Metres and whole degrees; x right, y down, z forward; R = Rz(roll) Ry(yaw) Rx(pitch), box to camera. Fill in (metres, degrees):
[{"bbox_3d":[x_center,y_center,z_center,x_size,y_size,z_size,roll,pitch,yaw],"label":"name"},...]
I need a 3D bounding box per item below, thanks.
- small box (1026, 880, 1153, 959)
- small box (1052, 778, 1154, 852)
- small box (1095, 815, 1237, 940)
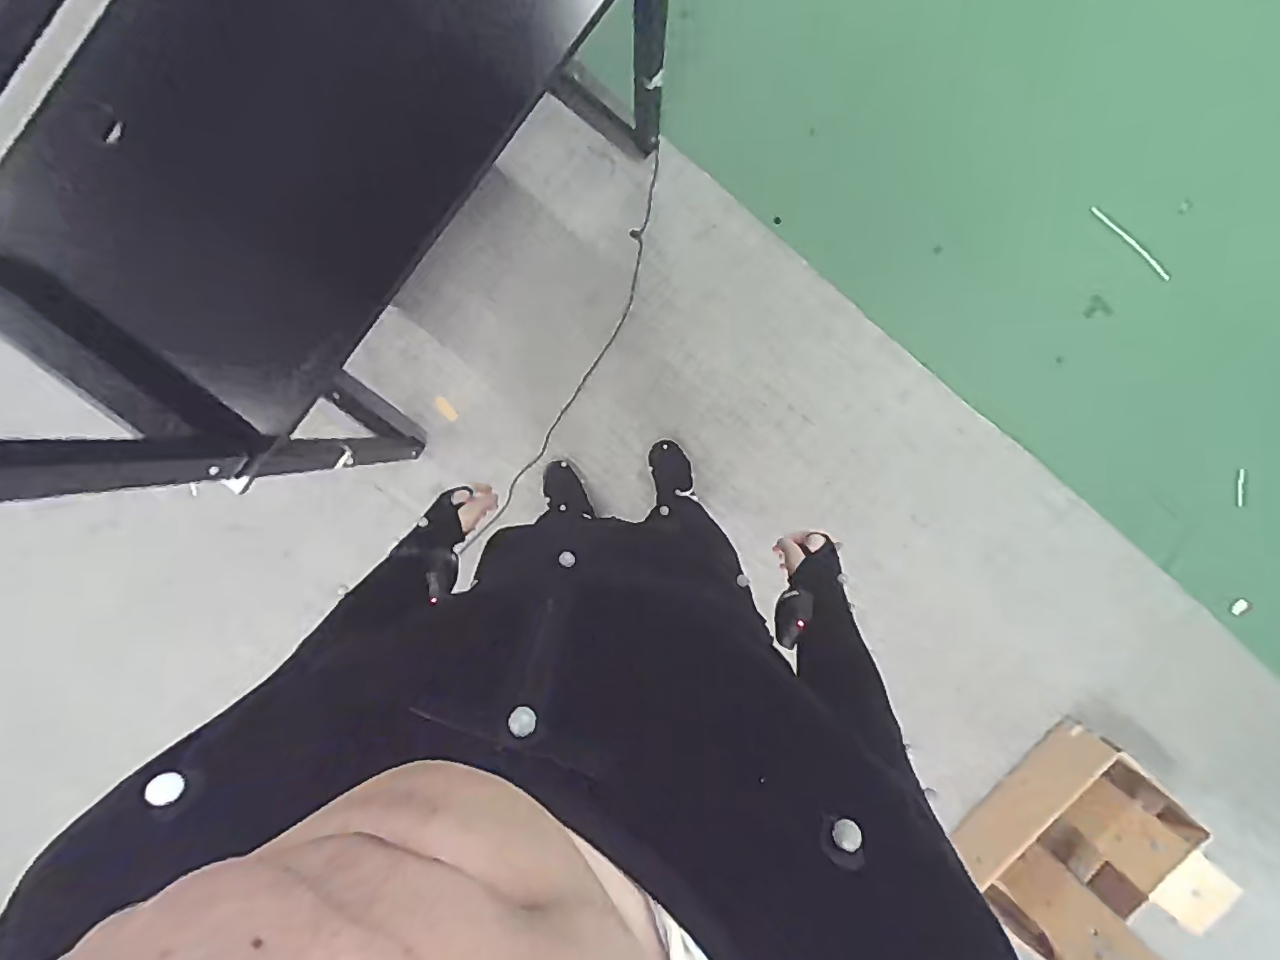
[{"bbox_3d":[1.197,1.229,1.440,0.179,0.176,0.168,41,91,-4],"label":"small box"},{"bbox_3d":[1.375,1.016,1.586,0.179,0.176,0.168,41,94,-3],"label":"small box"},{"bbox_3d":[1.372,1.032,1.425,0.179,0.176,0.168,40,93,-4],"label":"small box"}]
